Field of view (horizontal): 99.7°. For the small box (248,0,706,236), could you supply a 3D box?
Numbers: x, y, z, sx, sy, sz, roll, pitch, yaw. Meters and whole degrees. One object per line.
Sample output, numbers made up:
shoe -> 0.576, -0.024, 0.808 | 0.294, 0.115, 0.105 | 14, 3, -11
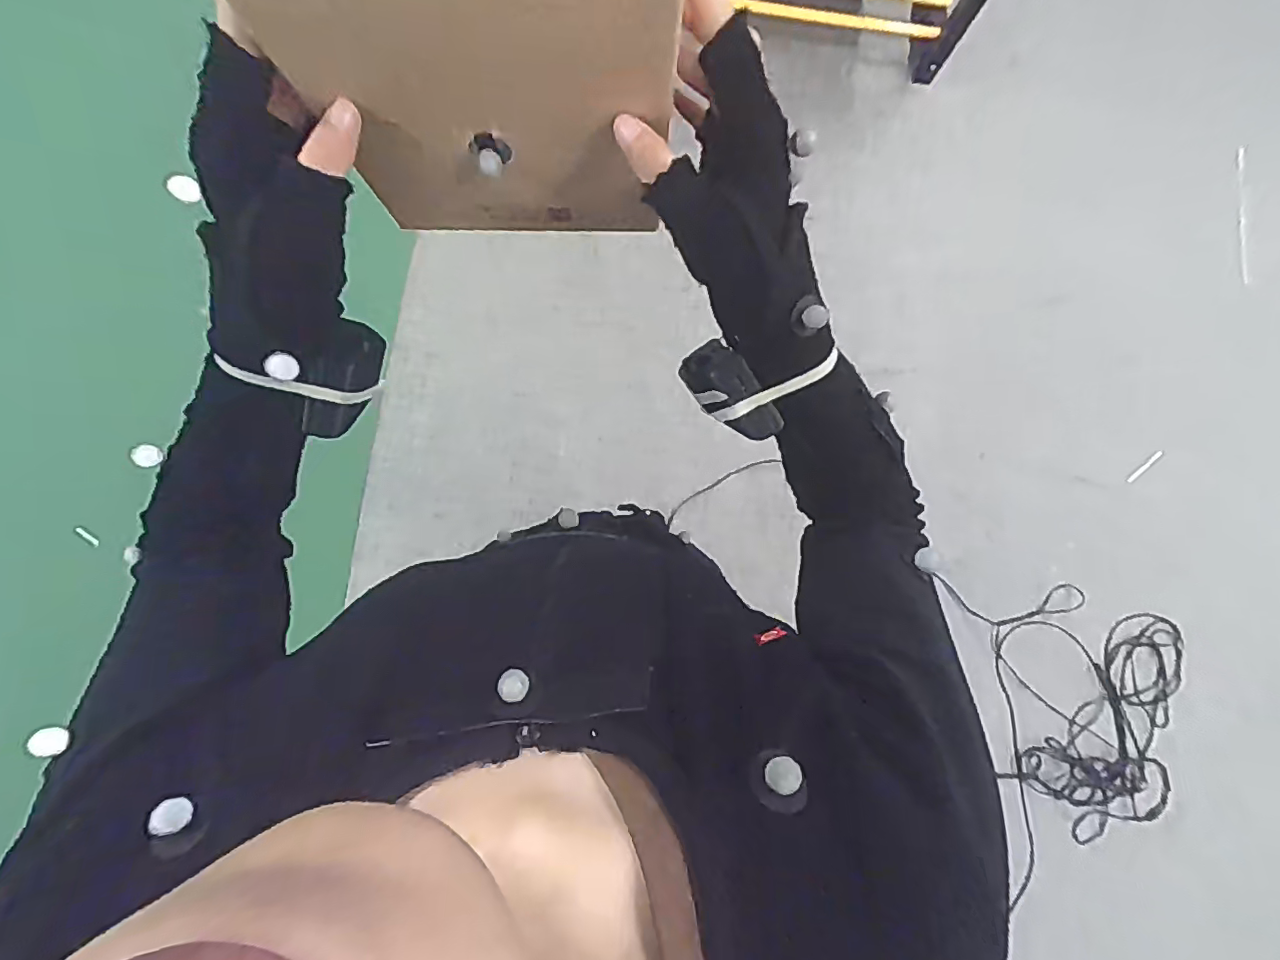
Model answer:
small box -> -0.058, -0.245, 0.271 | 0.168, 0.176, 0.179 | 0, 85, -2
